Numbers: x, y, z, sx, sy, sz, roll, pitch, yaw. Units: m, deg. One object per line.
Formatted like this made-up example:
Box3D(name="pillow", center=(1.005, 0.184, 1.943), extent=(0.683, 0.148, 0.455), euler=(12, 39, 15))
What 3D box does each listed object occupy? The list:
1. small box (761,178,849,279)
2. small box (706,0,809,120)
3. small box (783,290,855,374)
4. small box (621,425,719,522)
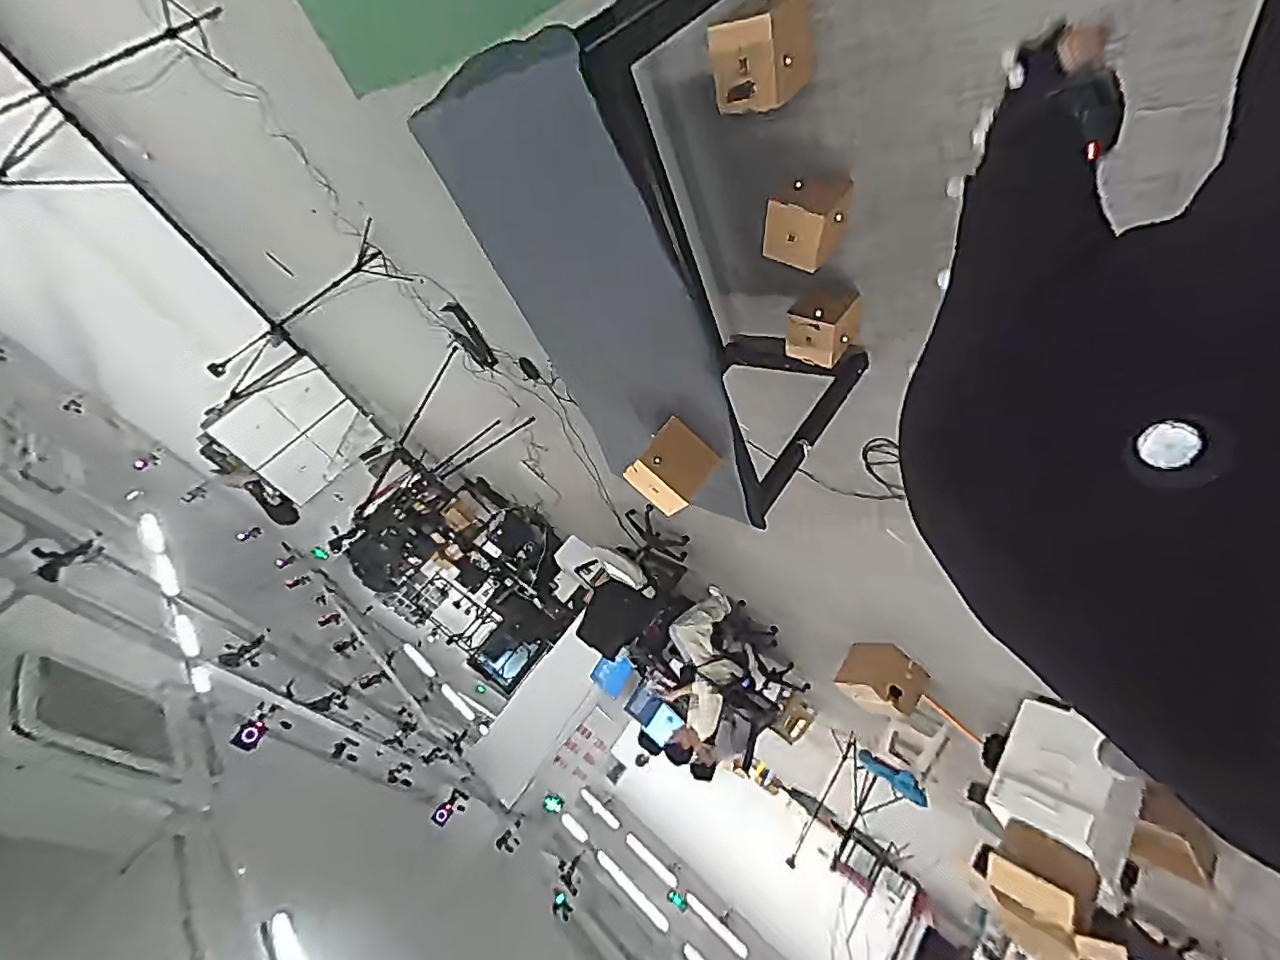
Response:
Box3D(name="small box", center=(0.457, -0.702, 1.500), extent=(0.168, 0.176, 0.179), euler=(31, 158, 23))
Box3D(name="small box", center=(0.281, -0.976, 1.258), extent=(0.168, 0.176, 0.179), euler=(22, 151, 36))
Box3D(name="small box", center=(0.575, -0.477, 1.737), extent=(0.168, 0.176, 0.179), euler=(26, 155, 30))
Box3D(name="small box", center=(0.082, -0.016, 1.454), extent=(0.179, 0.176, 0.168), euler=(42, 158, -2))
